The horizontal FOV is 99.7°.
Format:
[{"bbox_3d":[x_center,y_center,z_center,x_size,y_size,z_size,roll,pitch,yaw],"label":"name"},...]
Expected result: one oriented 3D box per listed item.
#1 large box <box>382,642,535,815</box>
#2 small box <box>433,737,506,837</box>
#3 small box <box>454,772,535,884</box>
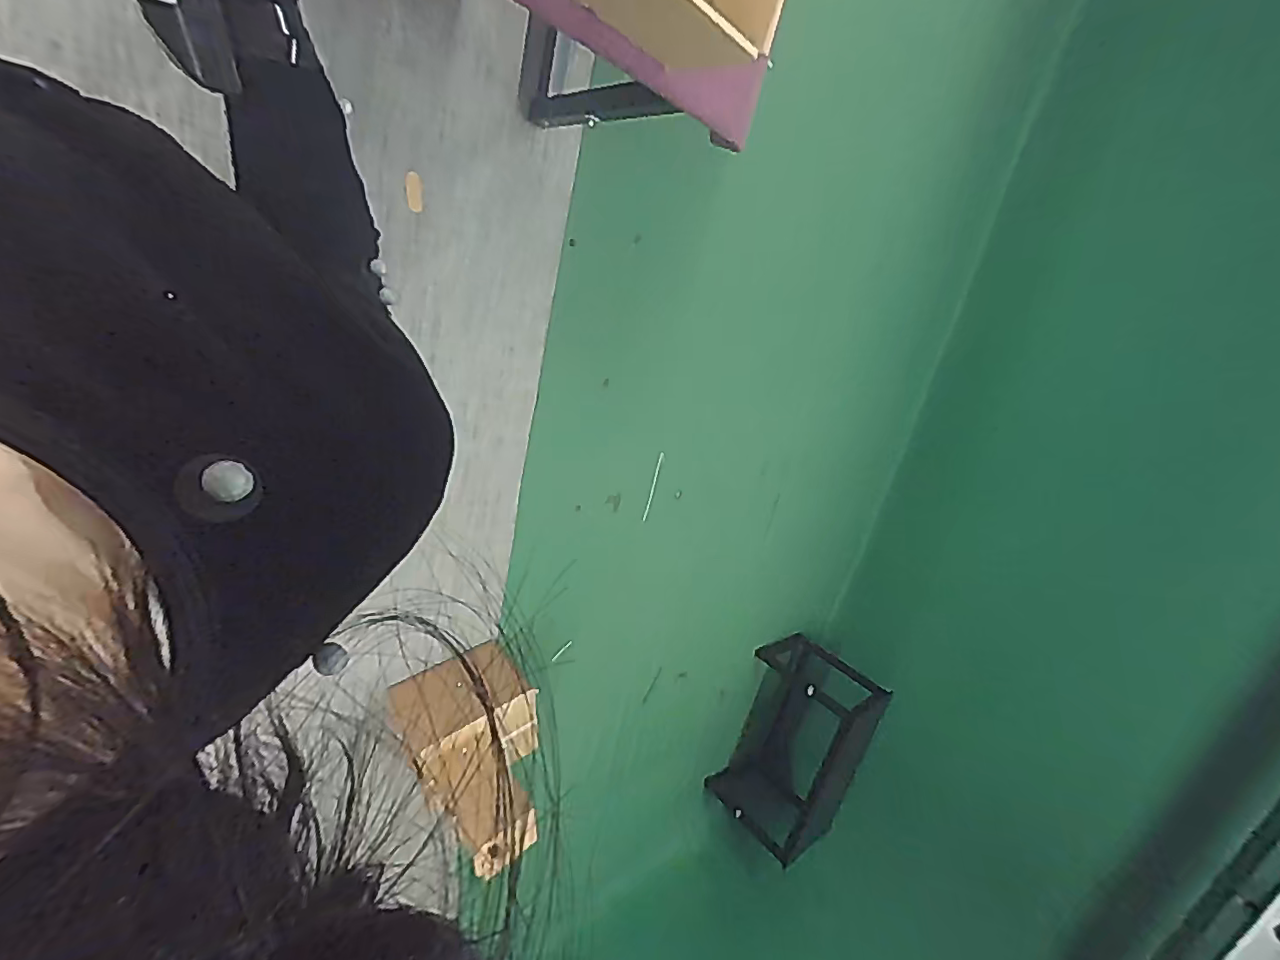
[{"bbox_3d":[-0.633,0.855,1.912,0.408,0.320,0.320,-20,126,-37],"label":"large box"},{"bbox_3d":[-0.537,0.952,1.691,0.179,0.176,0.168,-14,121,-39],"label":"small box"},{"bbox_3d":[-0.429,1.010,1.581,0.179,0.176,0.168,-20,124,-38],"label":"small box"}]
